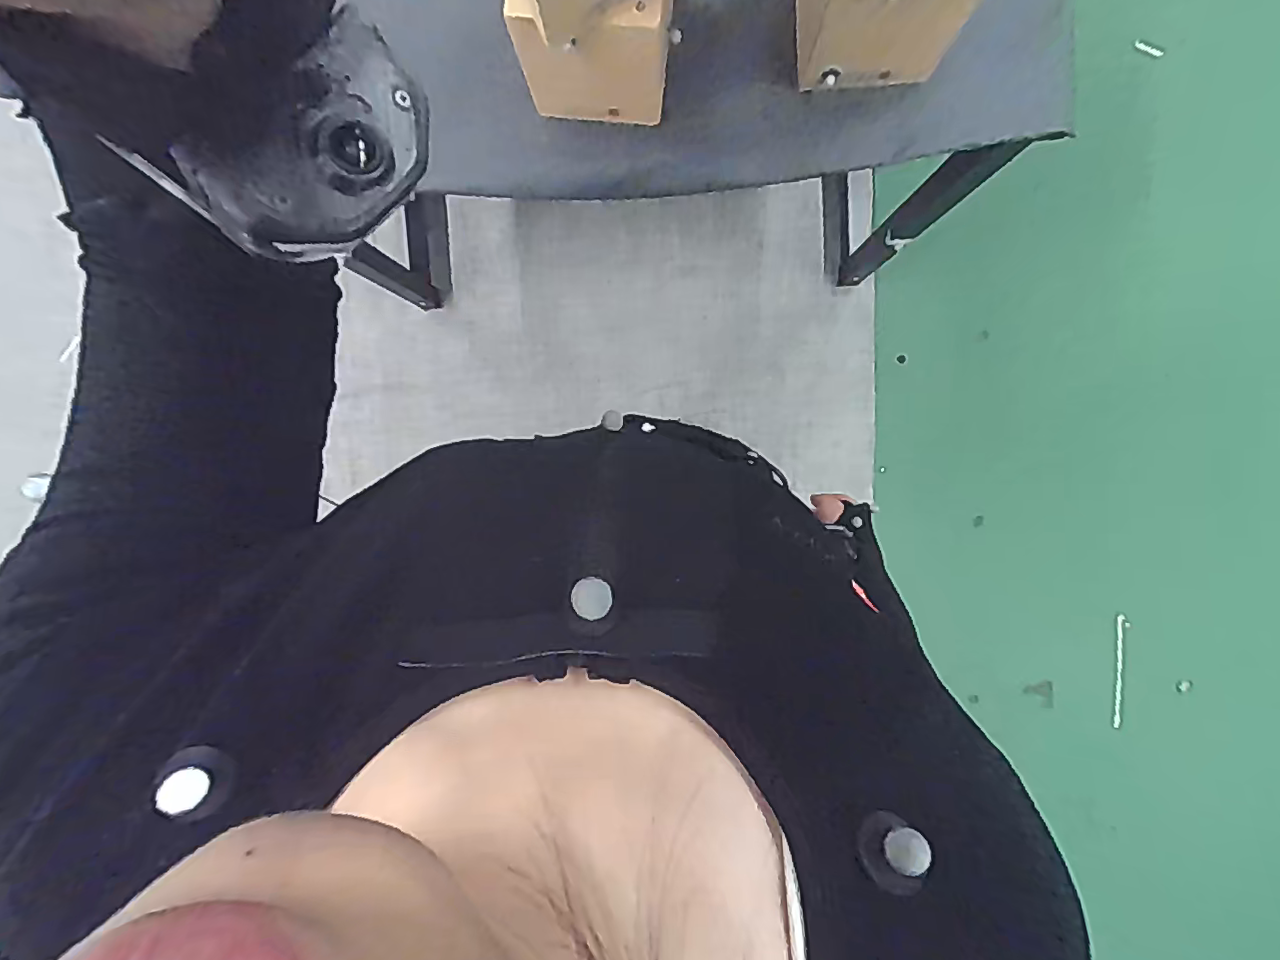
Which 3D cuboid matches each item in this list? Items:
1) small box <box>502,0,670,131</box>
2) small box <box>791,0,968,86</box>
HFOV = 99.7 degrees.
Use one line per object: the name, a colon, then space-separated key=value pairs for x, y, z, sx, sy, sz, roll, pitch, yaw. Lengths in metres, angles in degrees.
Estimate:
small box: x=-0.052 y=-0.555 z=0.635 sx=0.168 sy=0.176 sz=0.179 roll=6 pitch=92 yaw=2
small box: x=0.275 y=-0.589 z=0.620 sx=0.168 sy=0.176 sz=0.179 roll=-2 pitch=91 yaw=3
